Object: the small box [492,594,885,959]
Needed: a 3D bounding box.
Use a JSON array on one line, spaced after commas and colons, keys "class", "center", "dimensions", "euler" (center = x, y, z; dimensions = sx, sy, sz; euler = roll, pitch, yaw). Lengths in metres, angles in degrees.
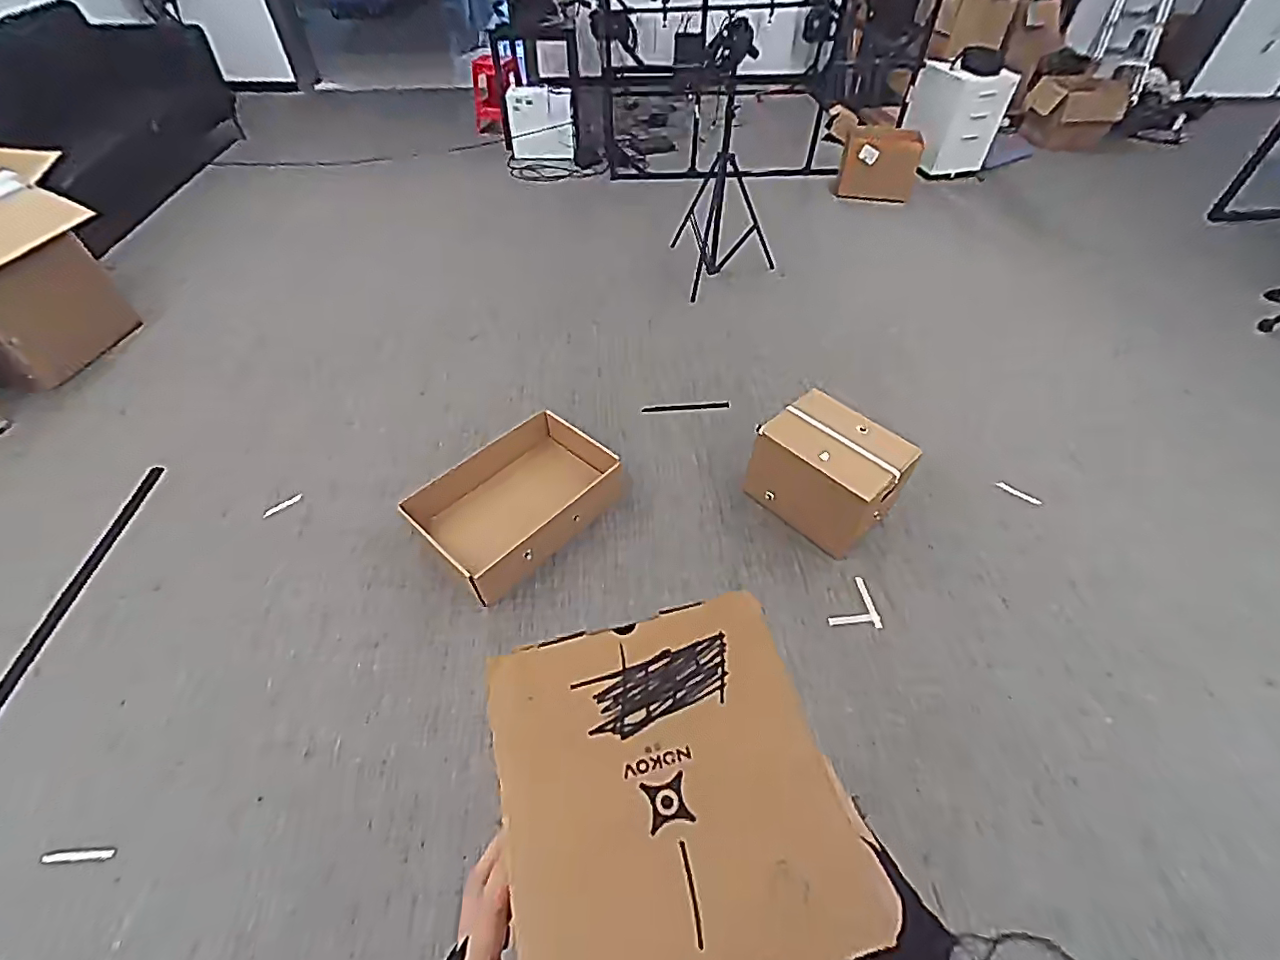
[{"class": "small box", "center": [0.013, 0.200, 0.346], "dimensions": [0.168, 0.176, 0.179], "euler": [-13, 58, -7]}]
